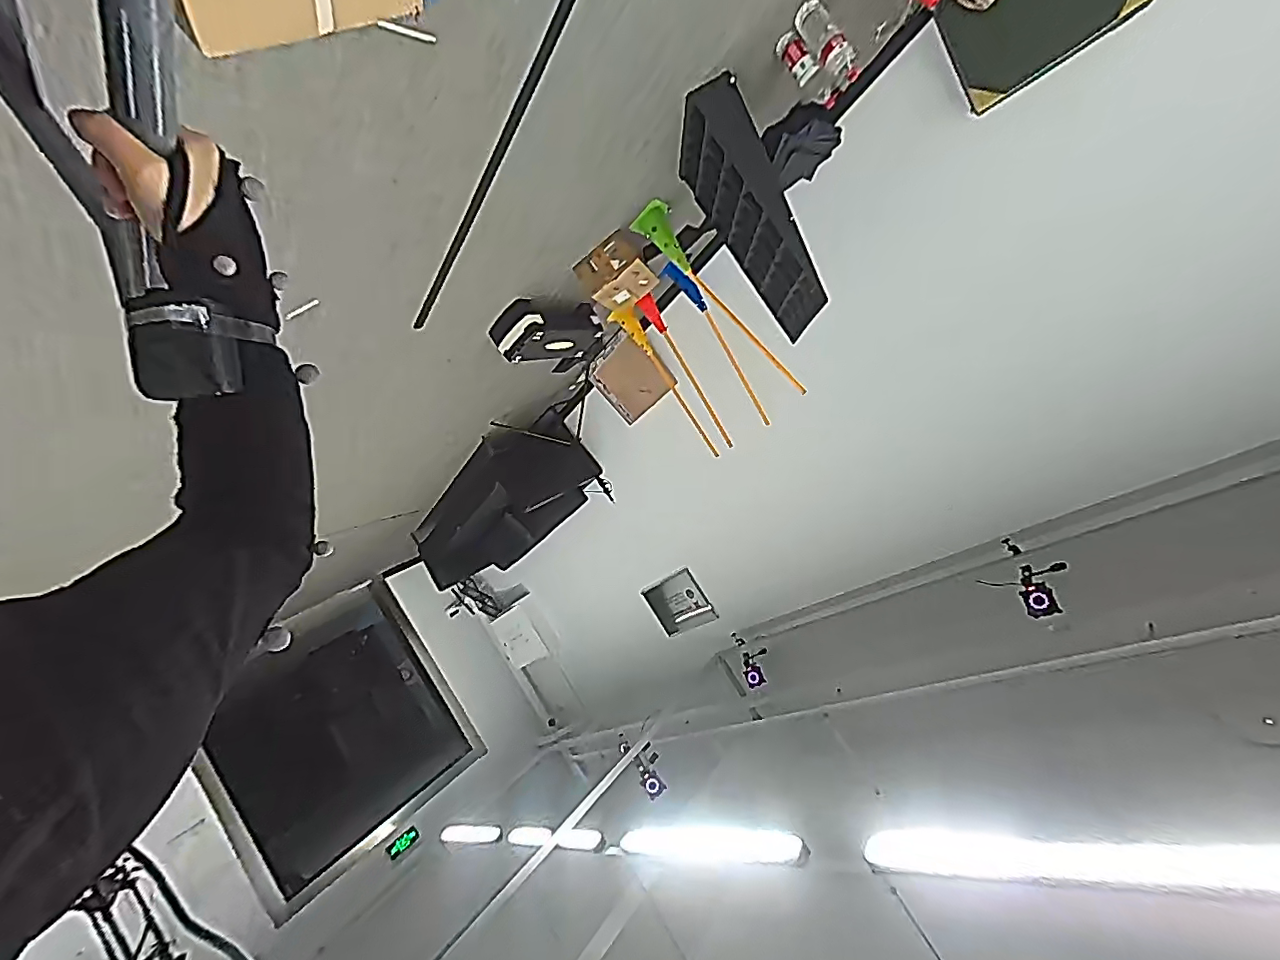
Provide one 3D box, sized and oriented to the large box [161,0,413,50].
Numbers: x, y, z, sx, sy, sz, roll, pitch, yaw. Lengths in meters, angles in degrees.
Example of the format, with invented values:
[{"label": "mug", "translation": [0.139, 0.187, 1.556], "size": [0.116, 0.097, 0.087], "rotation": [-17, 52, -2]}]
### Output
[{"label": "large box", "translation": [-0.454, -0.773, 0.538], "size": [0.320, 0.320, 0.408], "rotation": [-40, -177, -27]}]
